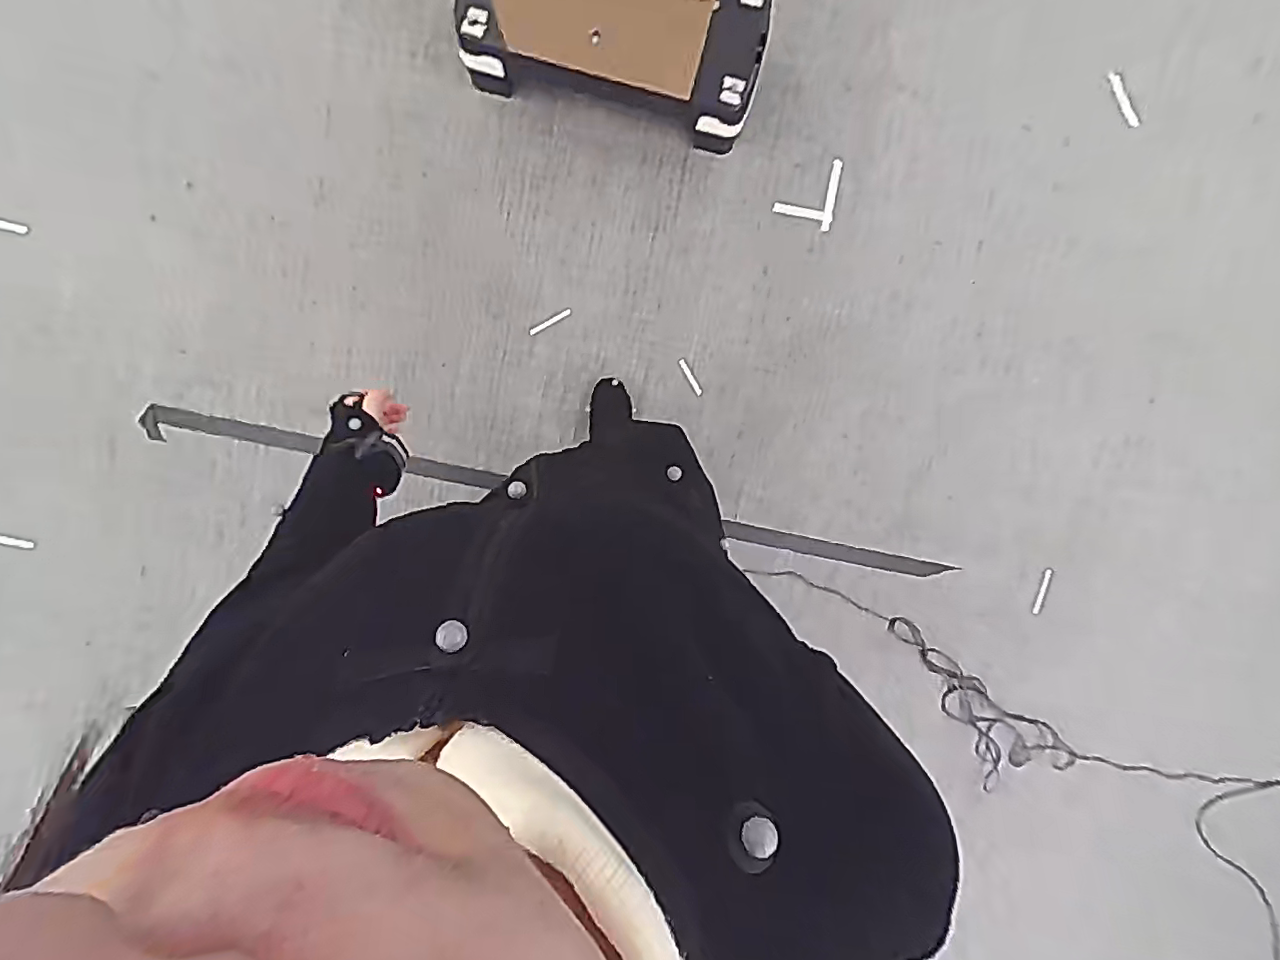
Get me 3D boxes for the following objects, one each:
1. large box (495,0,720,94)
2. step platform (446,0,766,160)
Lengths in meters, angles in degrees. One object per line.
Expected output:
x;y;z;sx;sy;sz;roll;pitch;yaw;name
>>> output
-0.040;-0.982;0.983;0.408;0.320;0.320;12;98;-3;large box
-0.070;-1.007;1.219;0.684;0.204;0.286;17;98;-4;step platform
